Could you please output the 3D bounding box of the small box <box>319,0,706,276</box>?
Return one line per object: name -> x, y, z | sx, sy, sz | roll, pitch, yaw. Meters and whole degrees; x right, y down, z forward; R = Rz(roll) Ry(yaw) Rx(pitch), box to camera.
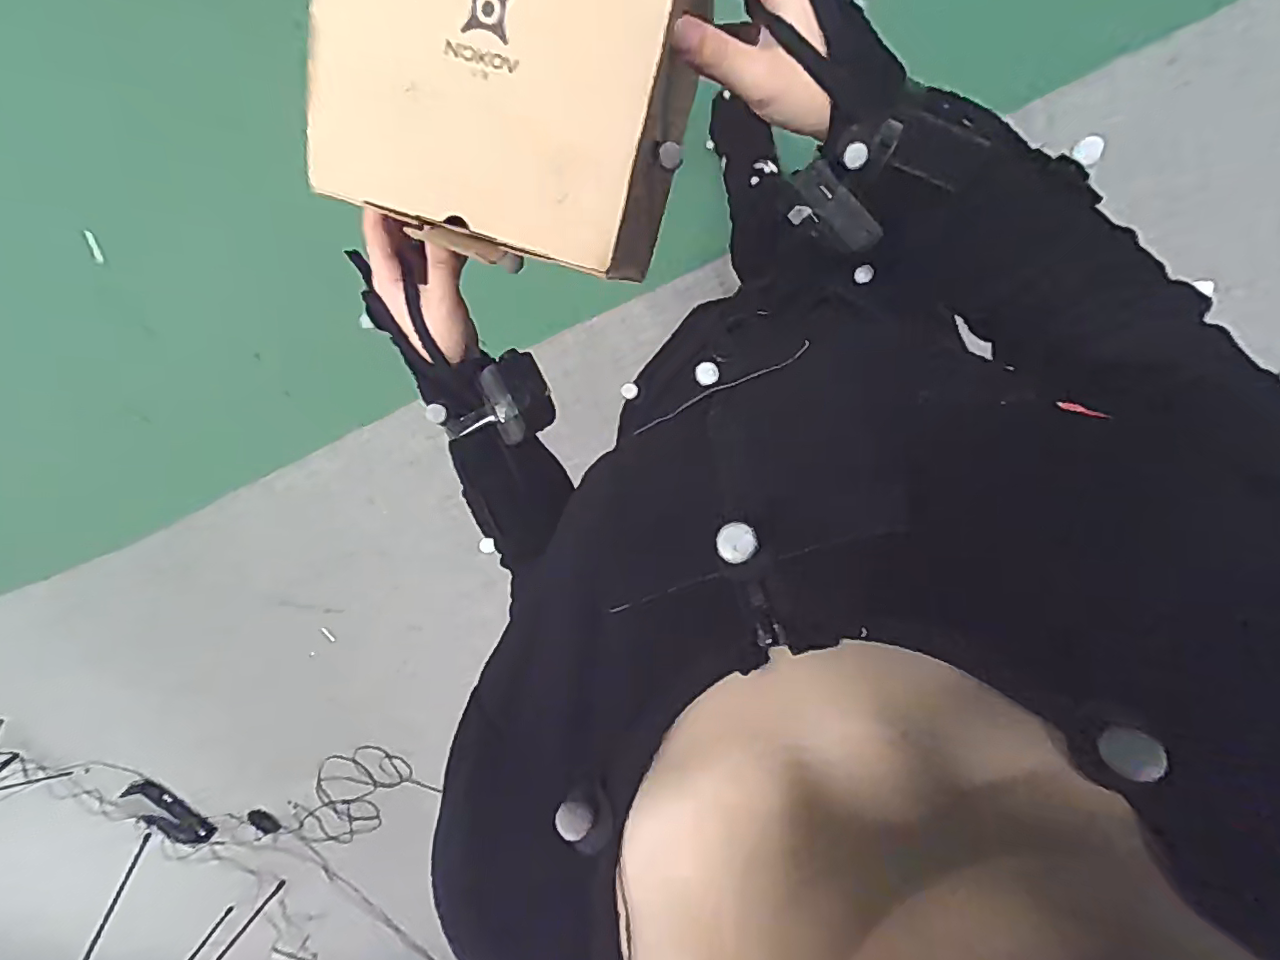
small box -> -0.060, -0.236, 0.329 | 0.168, 0.176, 0.179 | 17, 112, 1
